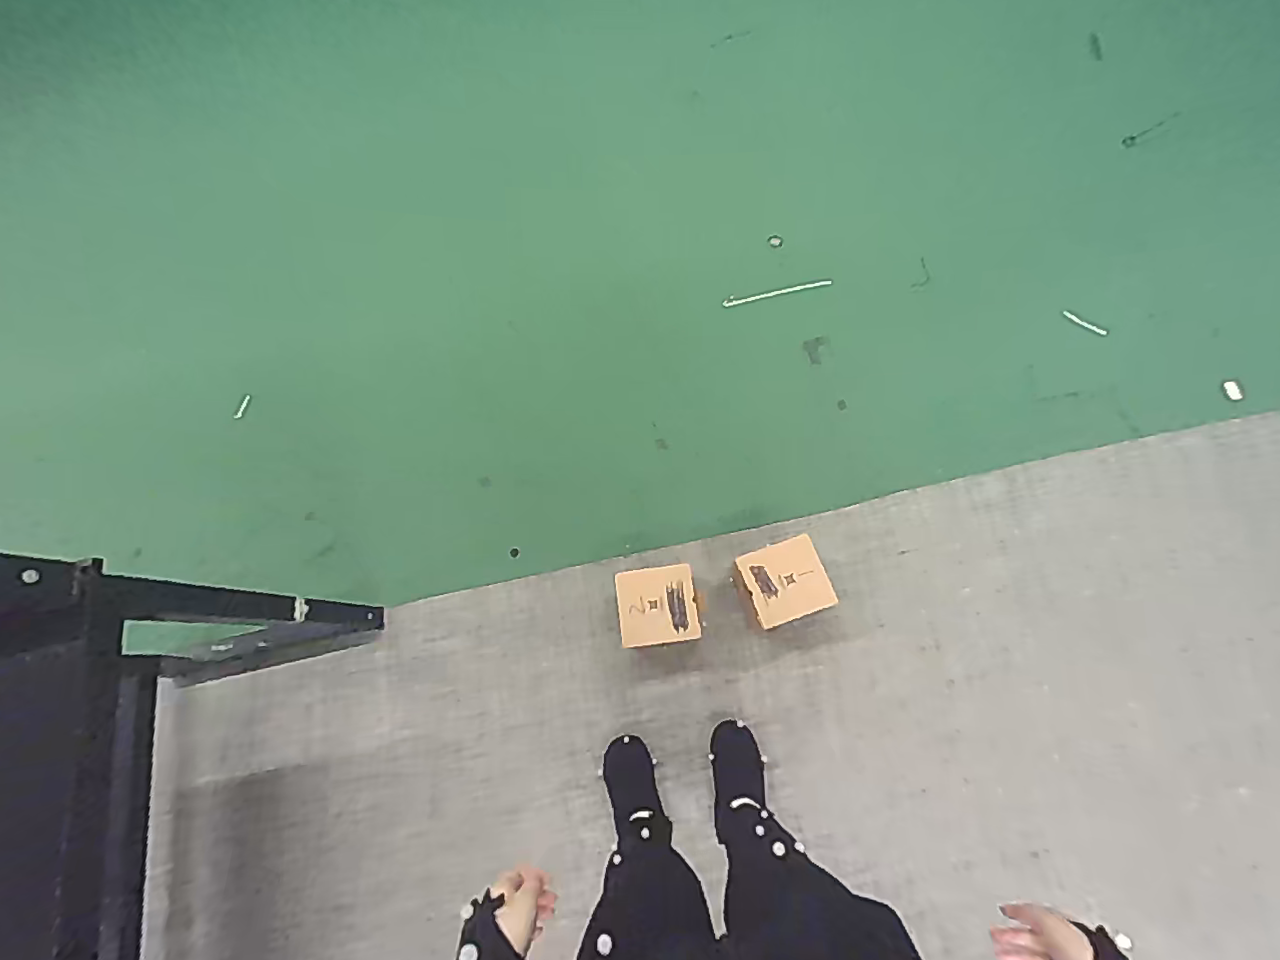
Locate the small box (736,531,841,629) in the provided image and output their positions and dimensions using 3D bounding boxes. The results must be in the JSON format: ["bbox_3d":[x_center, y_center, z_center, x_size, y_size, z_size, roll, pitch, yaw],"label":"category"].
[{"bbox_3d":[0.329,0.236,1.241,0.179,0.176,0.168,-20,73,-1],"label":"small box"}]
